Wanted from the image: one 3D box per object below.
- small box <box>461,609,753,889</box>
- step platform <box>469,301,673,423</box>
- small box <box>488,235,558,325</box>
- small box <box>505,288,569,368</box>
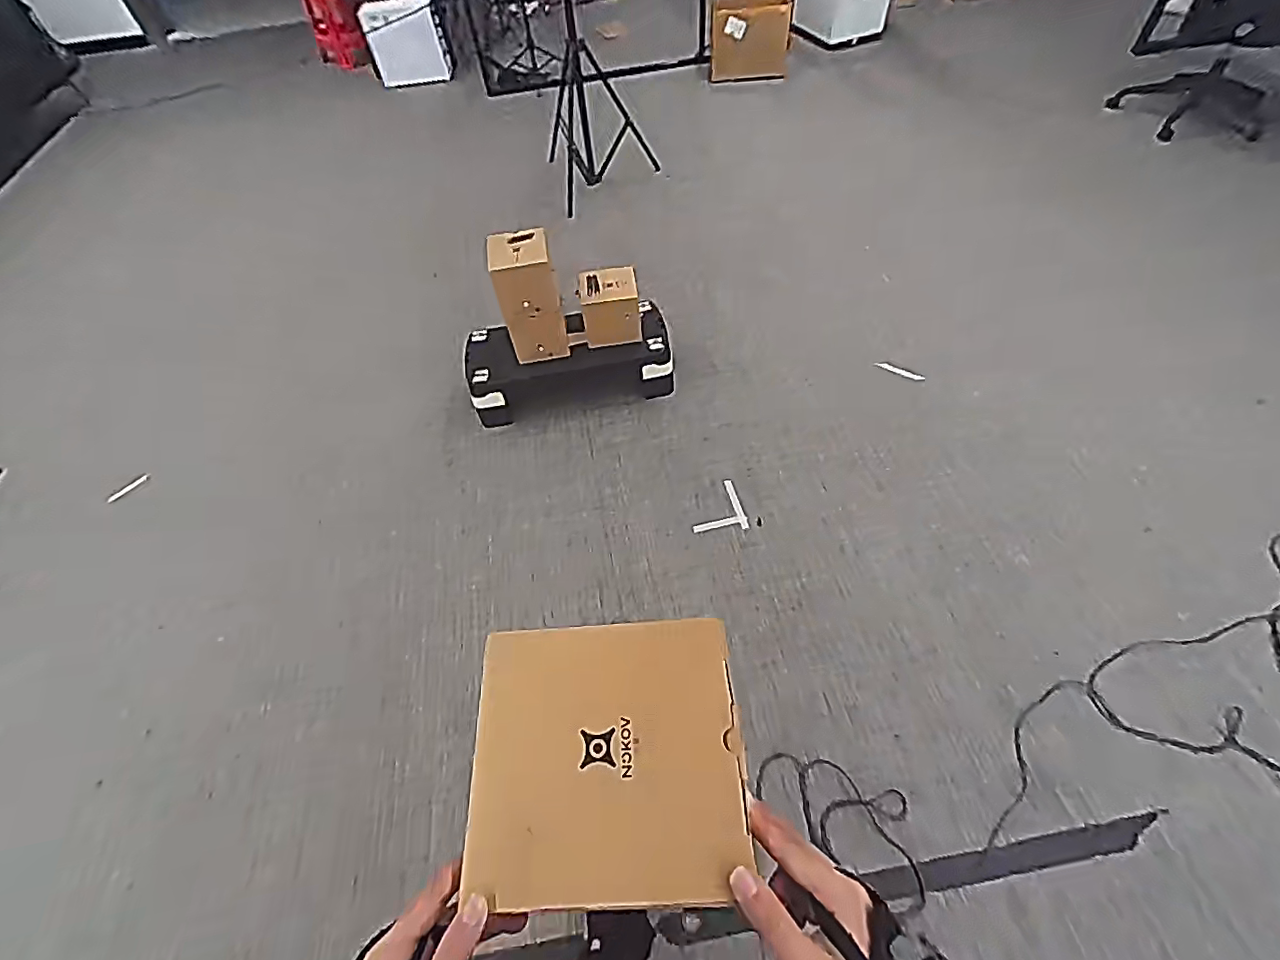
[{"bbox_3d":[-0.016,0.212,0.423,0.179,0.176,0.168,-4,57,2],"label":"small box"},{"bbox_3d":[-0.234,-0.411,1.863,0.684,0.204,0.286,-12,54,-3],"label":"step platform"},{"bbox_3d":[-0.338,-0.581,1.578,0.168,0.176,0.179,-10,55,-2],"label":"small box"},{"bbox_3d":[-0.325,-0.482,1.708,0.168,0.176,0.179,-10,54,-1],"label":"small box"}]
